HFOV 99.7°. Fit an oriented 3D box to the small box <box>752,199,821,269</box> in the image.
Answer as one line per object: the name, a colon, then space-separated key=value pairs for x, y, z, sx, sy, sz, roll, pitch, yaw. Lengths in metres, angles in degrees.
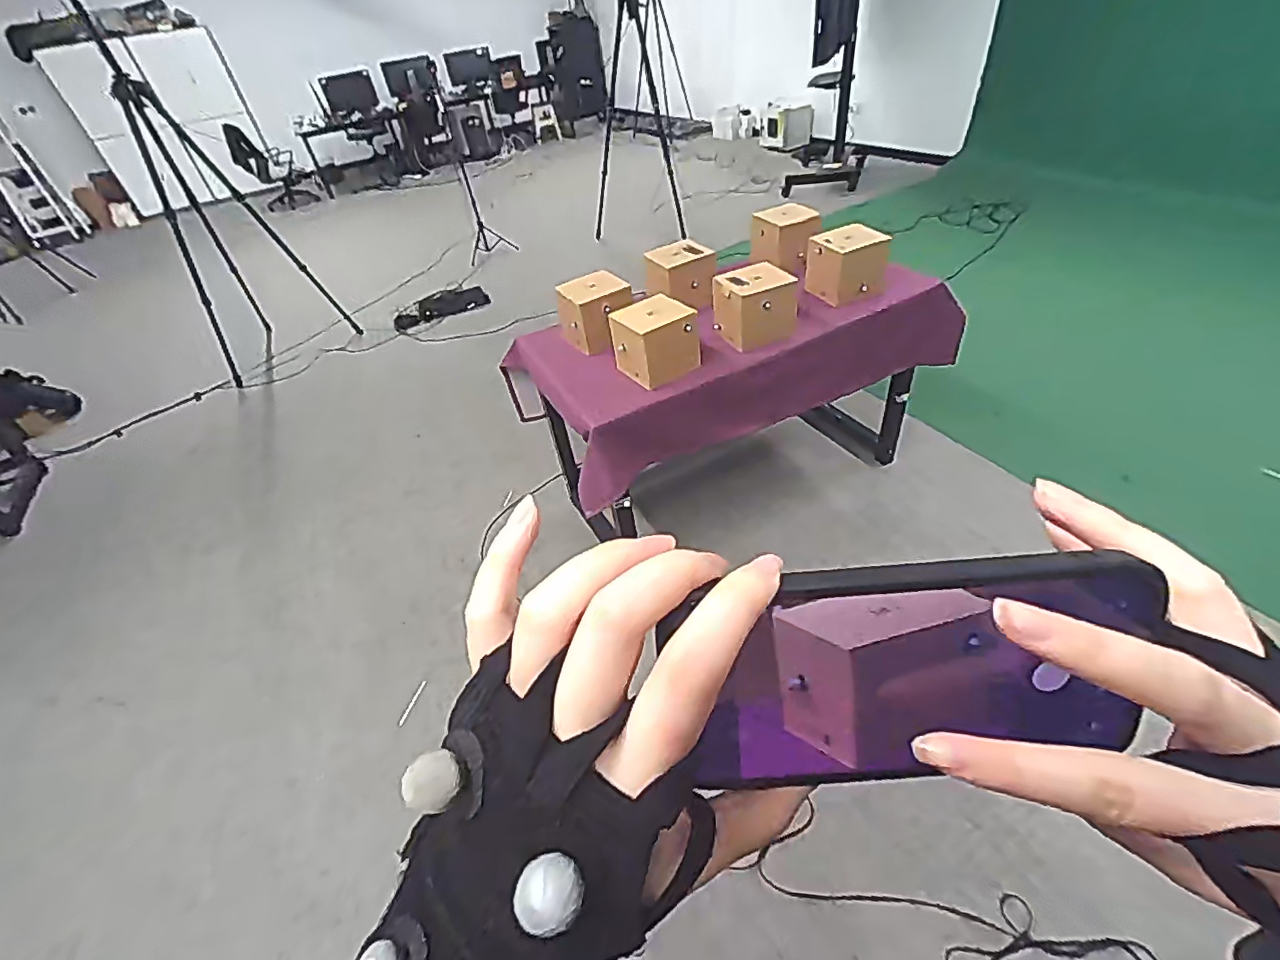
small box: x=0.499 y=-0.848 z=1.871 sx=0.168 sy=0.176 sz=0.179 roll=-22 pitch=44 yaw=-13

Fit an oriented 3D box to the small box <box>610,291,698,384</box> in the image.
small box: x=0.043 y=-0.382 z=1.453 sx=0.179 sy=0.176 sz=0.168 roll=-28 pitch=45 yaw=-21

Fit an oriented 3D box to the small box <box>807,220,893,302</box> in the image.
small box: x=0.631 y=-0.667 z=1.651 sx=0.179 sy=0.176 sz=0.168 roll=-19 pitch=43 yaw=-11

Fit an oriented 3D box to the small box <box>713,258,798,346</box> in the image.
small box: x=0.324 y=-0.500 z=1.528 sx=0.179 sy=0.176 sz=0.168 roll=-20 pitch=43 yaw=-12
